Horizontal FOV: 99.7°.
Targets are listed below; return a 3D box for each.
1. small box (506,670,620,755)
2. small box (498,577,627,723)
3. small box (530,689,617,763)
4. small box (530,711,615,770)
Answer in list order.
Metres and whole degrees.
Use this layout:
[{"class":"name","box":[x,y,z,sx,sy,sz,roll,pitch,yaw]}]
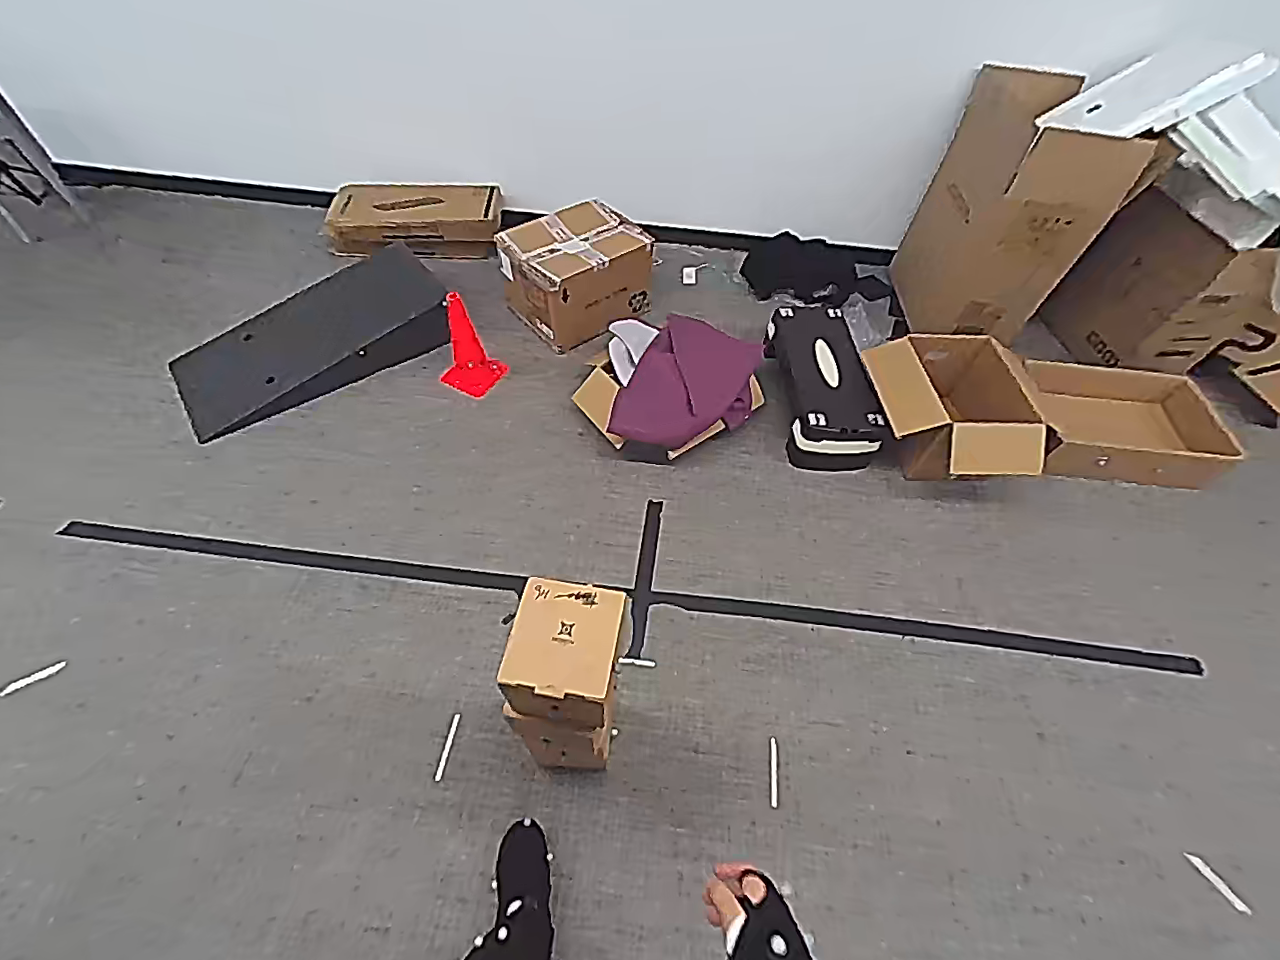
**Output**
[{"class":"small box","box":[-0.134,0.394,1.017,0.168,0.176,0.179,11,55,6]},{"class":"small box","box":[-0.116,0.286,0.893,0.168,0.176,0.179,9,54,4]},{"class":"small box","box":[-0.140,0.484,1.152,0.168,0.176,0.179,7,54,2]},{"class":"small box","box":[-0.152,0.582,1.284,0.179,0.176,0.168,4,54,0]}]
